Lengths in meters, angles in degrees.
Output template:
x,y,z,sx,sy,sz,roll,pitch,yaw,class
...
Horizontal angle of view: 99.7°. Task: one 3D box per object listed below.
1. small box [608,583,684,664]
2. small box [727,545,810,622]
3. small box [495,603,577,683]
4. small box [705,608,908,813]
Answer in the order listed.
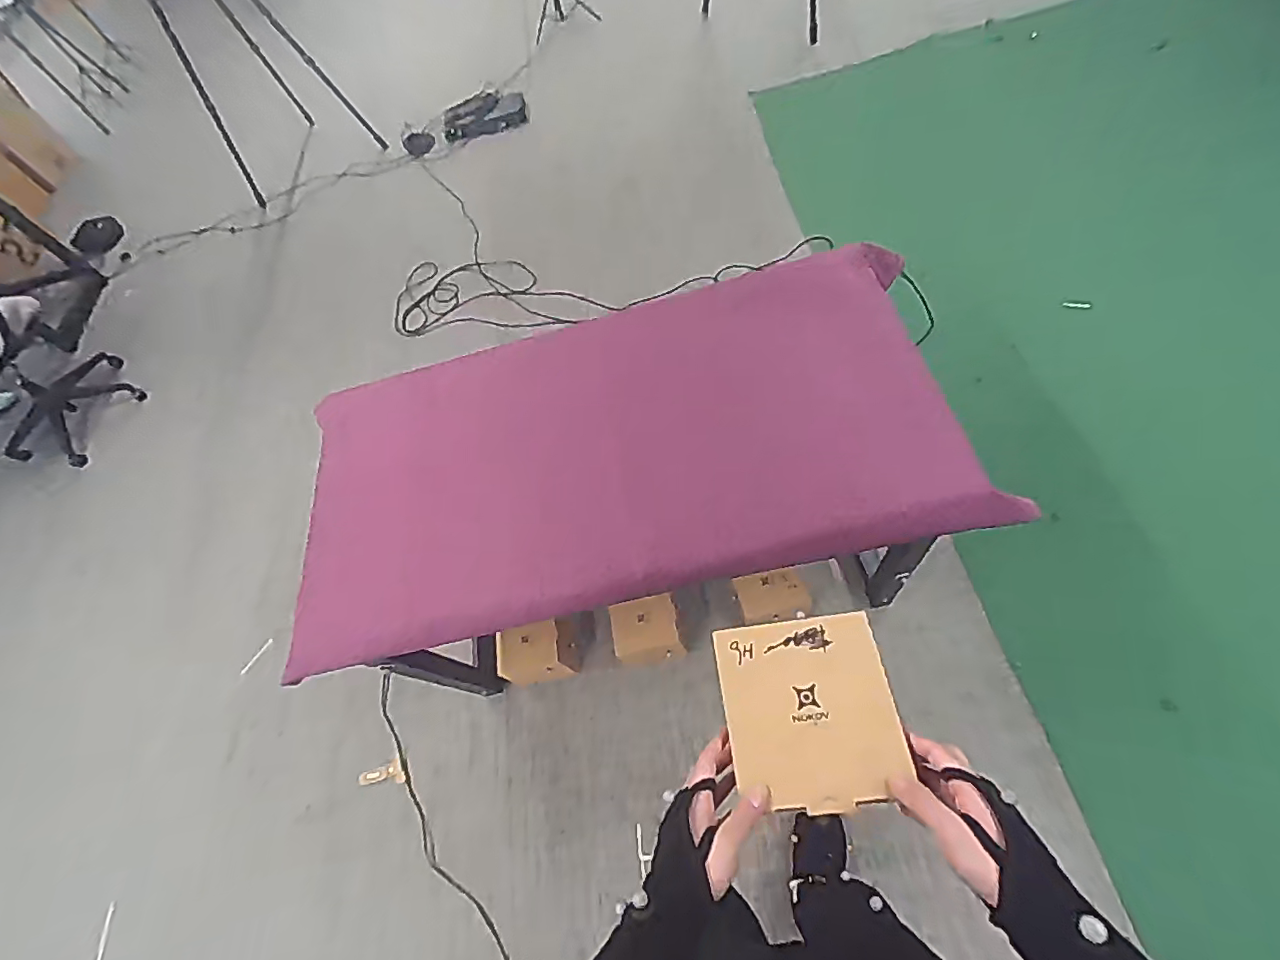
x,y,z,sx,sy,sz,roll,pitch,yaw,class
0.021,0.401,1.497,0.179,0.176,0.168,-14,59,7,small box
0.348,0.300,1.470,0.179,0.176,0.168,-17,60,5,small box
-0.294,0.468,1.538,0.179,0.176,0.168,-14,60,6,small box
0.171,0.259,0.601,0.168,0.176,0.179,-9,59,7,small box
